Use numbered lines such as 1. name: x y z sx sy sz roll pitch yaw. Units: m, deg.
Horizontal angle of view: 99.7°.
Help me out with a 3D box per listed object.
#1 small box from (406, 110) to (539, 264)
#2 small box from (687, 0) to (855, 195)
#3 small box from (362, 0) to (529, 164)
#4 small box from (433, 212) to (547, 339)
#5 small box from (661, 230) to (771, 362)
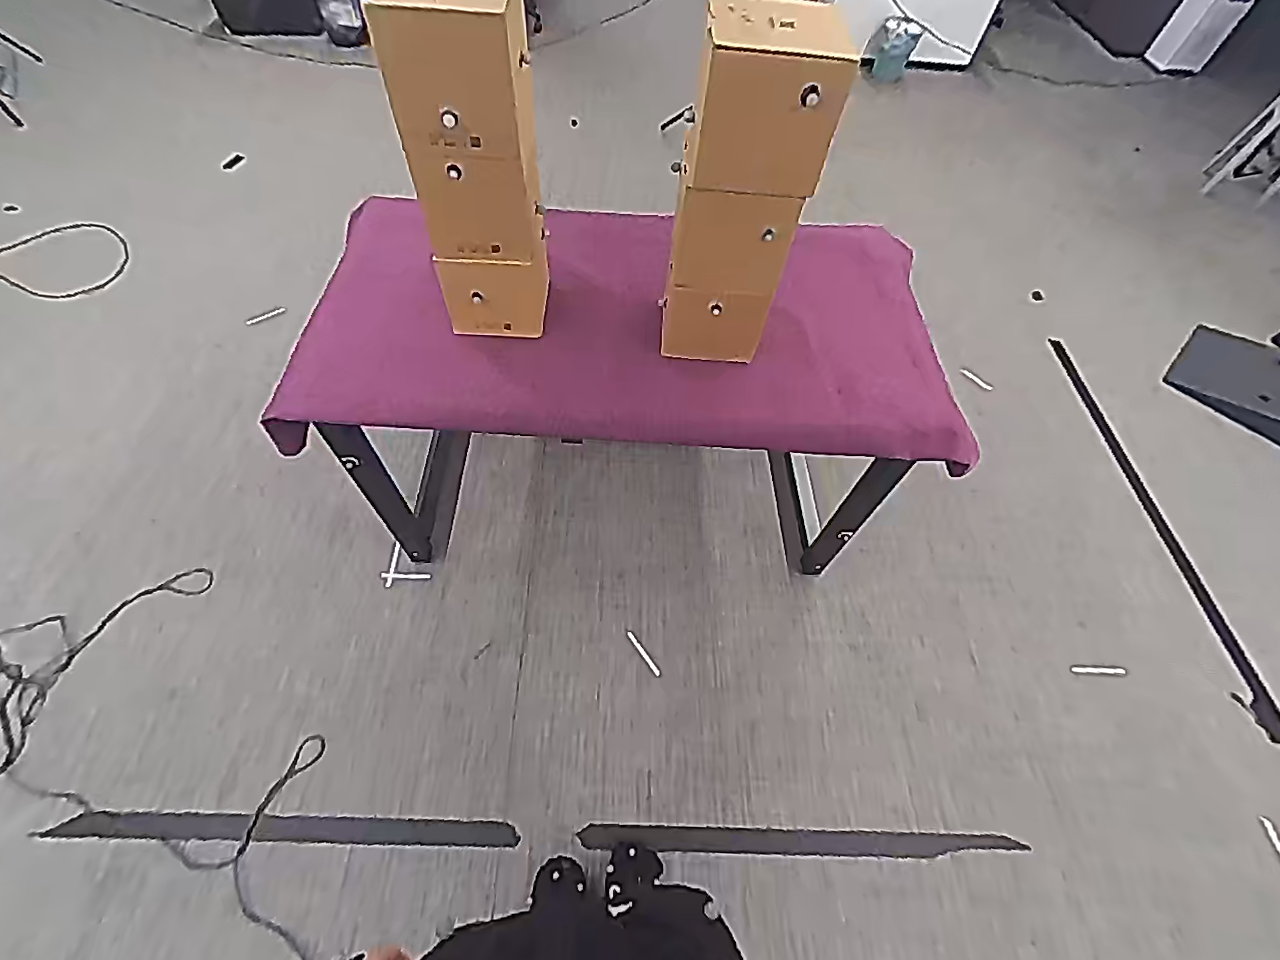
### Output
1. small box: -0.257 -0.479 0.879 0.168 0.176 0.179 0 56 -4
2. small box: 0.162 -0.512 0.732 0.179 0.176 0.168 3 57 -2
3. small box: -0.247 -0.566 0.739 0.168 0.176 0.179 1 58 -3
4. small box: -0.268 -0.384 1.012 0.168 0.176 0.179 1 57 -3
5. small box: 0.133 -0.339 1.011 0.179 0.176 0.168 4 58 -2
